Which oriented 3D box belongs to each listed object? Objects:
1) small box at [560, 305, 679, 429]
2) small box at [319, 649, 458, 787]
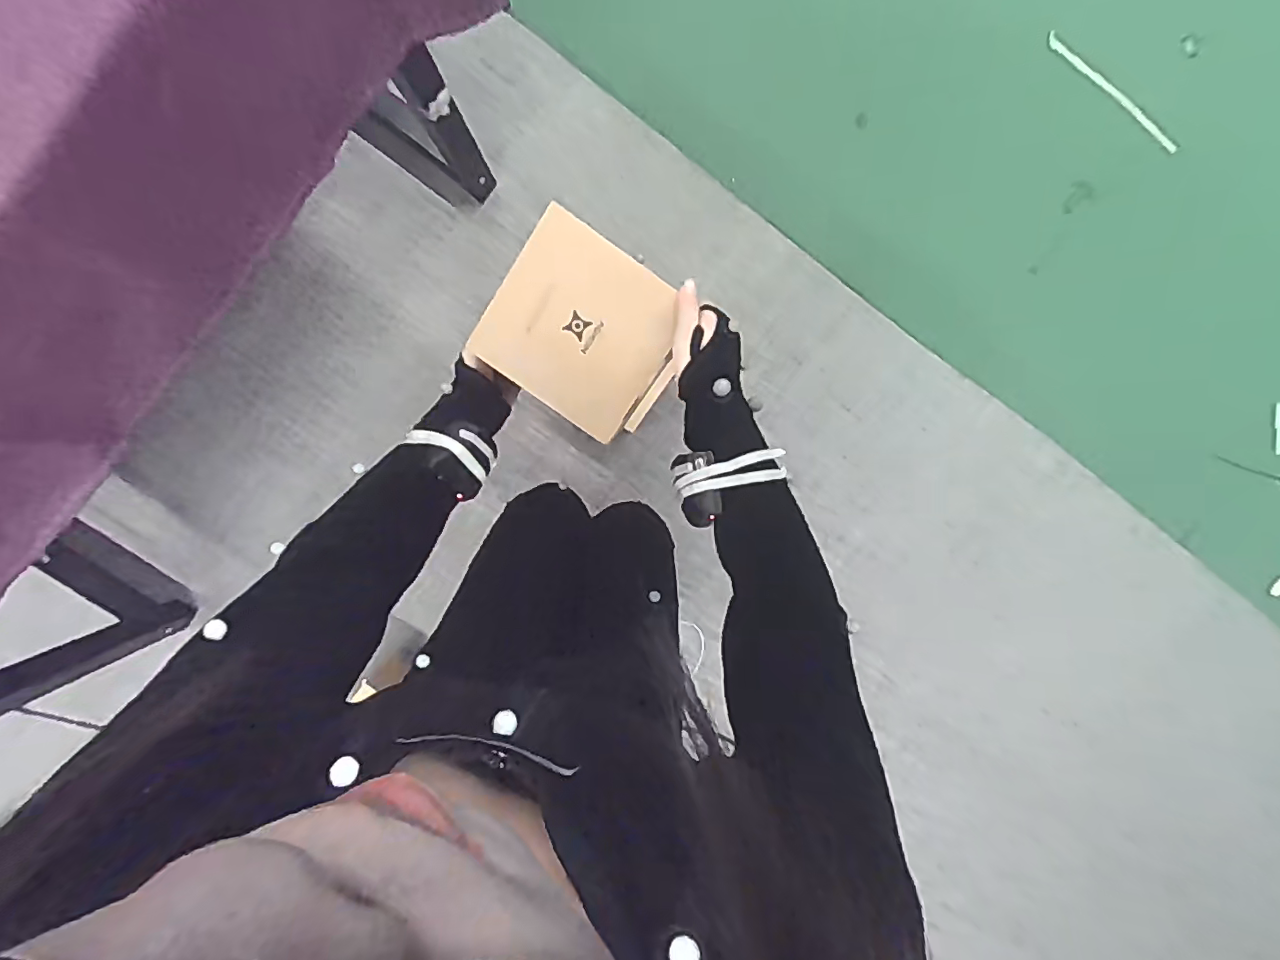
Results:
[{"bbox_3d":[-0.040,-0.219,1.096,0.168,0.176,0.179,34,93,-6],"label":"small box"},{"bbox_3d":[-0.519,0.492,1.145,0.179,0.176,0.168,37,93,-5],"label":"small box"}]
